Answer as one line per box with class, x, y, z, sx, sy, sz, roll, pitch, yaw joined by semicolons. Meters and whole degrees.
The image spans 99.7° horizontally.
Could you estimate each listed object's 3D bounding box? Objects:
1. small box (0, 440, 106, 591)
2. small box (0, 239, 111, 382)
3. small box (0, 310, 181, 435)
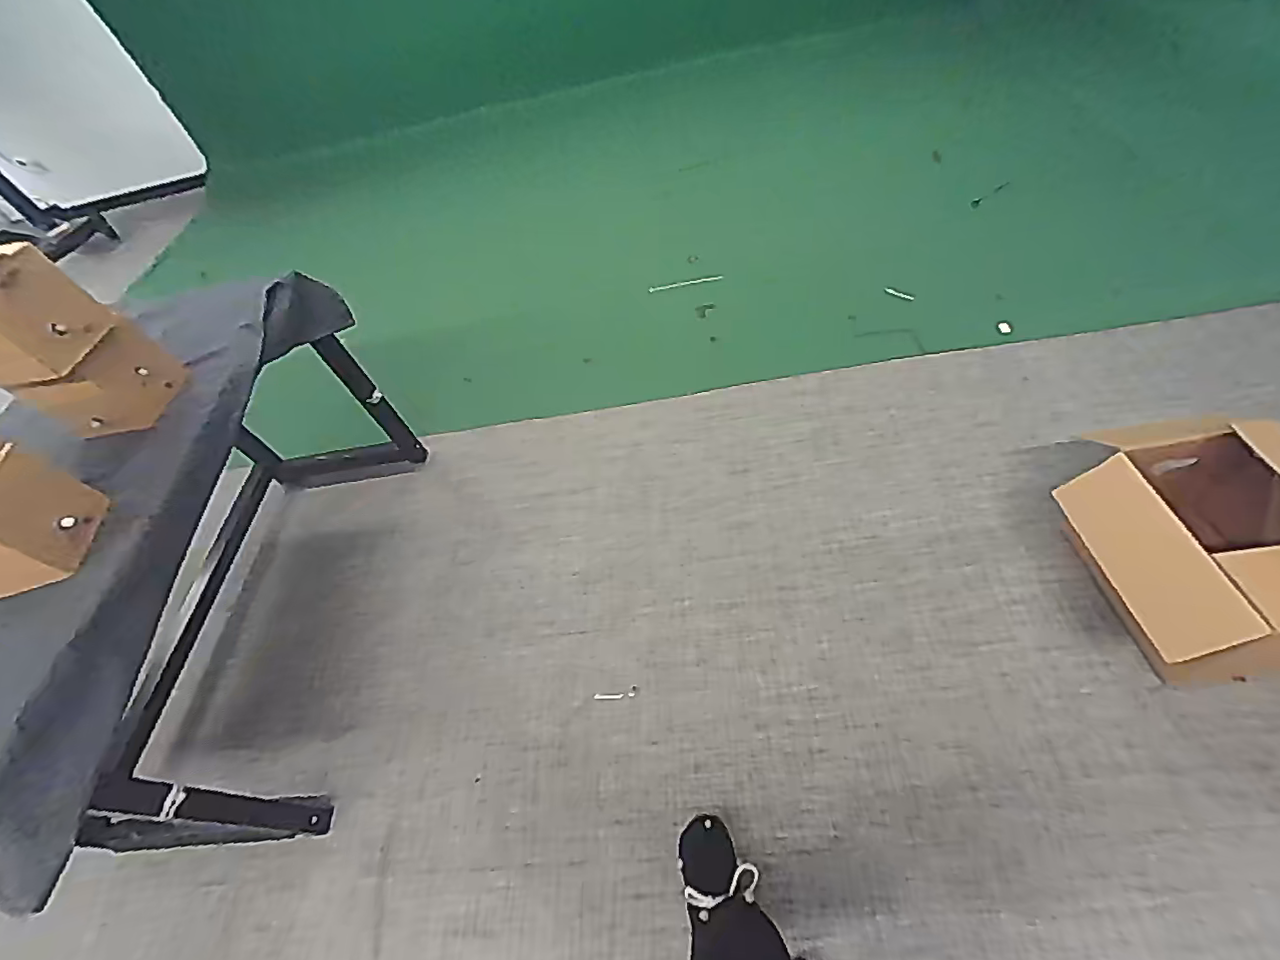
small box;-1.044;0.068;0.868;0.179;0.176;0.168;-16;52;0
small box;-1.112;-0.288;0.943;0.179;0.176;0.168;-5;53;9
small box;-1.095;-0.211;1.089;0.179;0.176;0.168;-7;53;7
